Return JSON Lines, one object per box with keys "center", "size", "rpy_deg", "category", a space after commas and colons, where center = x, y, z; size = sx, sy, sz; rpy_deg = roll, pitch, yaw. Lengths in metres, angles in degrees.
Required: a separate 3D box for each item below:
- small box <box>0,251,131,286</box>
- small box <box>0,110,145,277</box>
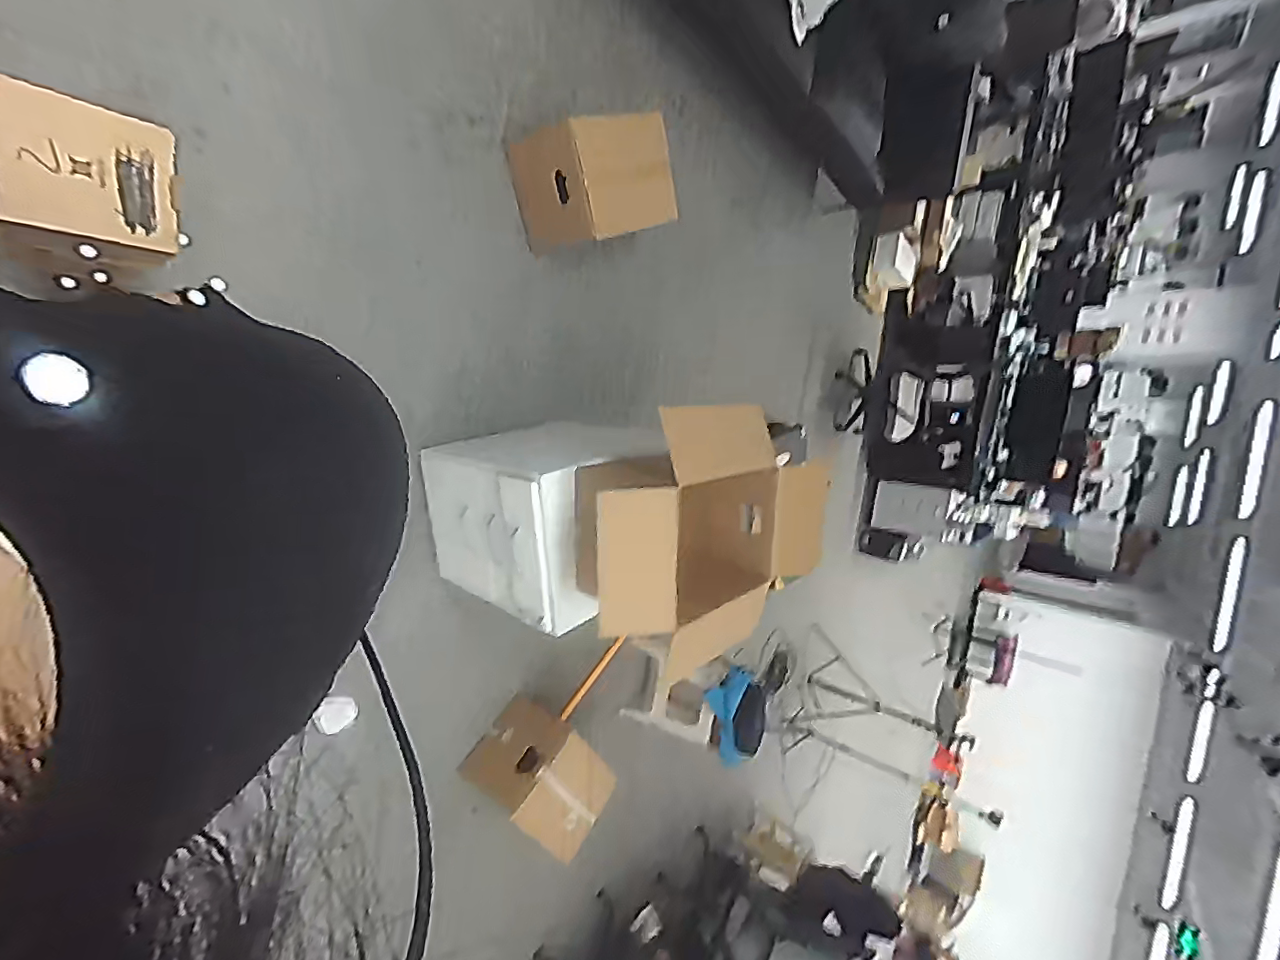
{"center": [-1.021, -0.457, 0.963], "size": [0.168, 0.176, 0.179], "rpy_deg": [4, 96, -50], "category": "small box"}
{"center": [-0.906, -0.433, 0.850], "size": [0.168, 0.176, 0.179], "rpy_deg": [0, 97, -51], "category": "small box"}
